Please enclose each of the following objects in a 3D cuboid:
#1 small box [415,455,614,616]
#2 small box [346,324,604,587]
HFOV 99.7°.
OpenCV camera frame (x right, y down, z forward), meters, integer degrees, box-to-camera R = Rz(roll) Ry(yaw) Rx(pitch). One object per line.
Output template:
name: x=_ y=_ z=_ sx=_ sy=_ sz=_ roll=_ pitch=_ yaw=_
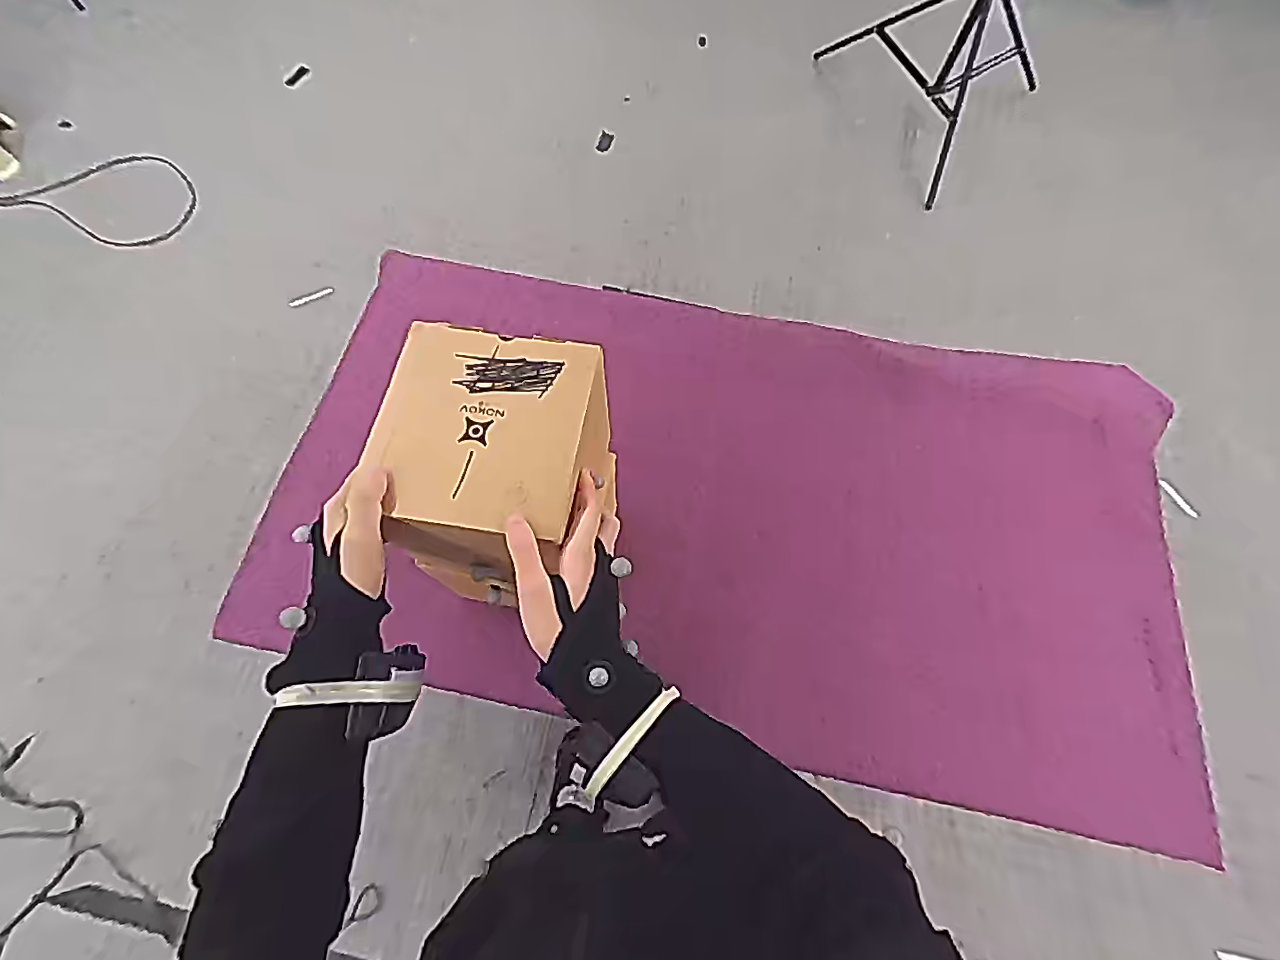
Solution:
small box: x=-0.131 y=0.060 z=0.651 sx=0.179 sy=0.176 sz=0.168 roll=11 pitch=68 yaw=4
small box: x=-0.128 y=-0.013 z=0.503 sx=0.168 sy=0.176 sz=0.179 roll=8 pitch=68 yaw=3
